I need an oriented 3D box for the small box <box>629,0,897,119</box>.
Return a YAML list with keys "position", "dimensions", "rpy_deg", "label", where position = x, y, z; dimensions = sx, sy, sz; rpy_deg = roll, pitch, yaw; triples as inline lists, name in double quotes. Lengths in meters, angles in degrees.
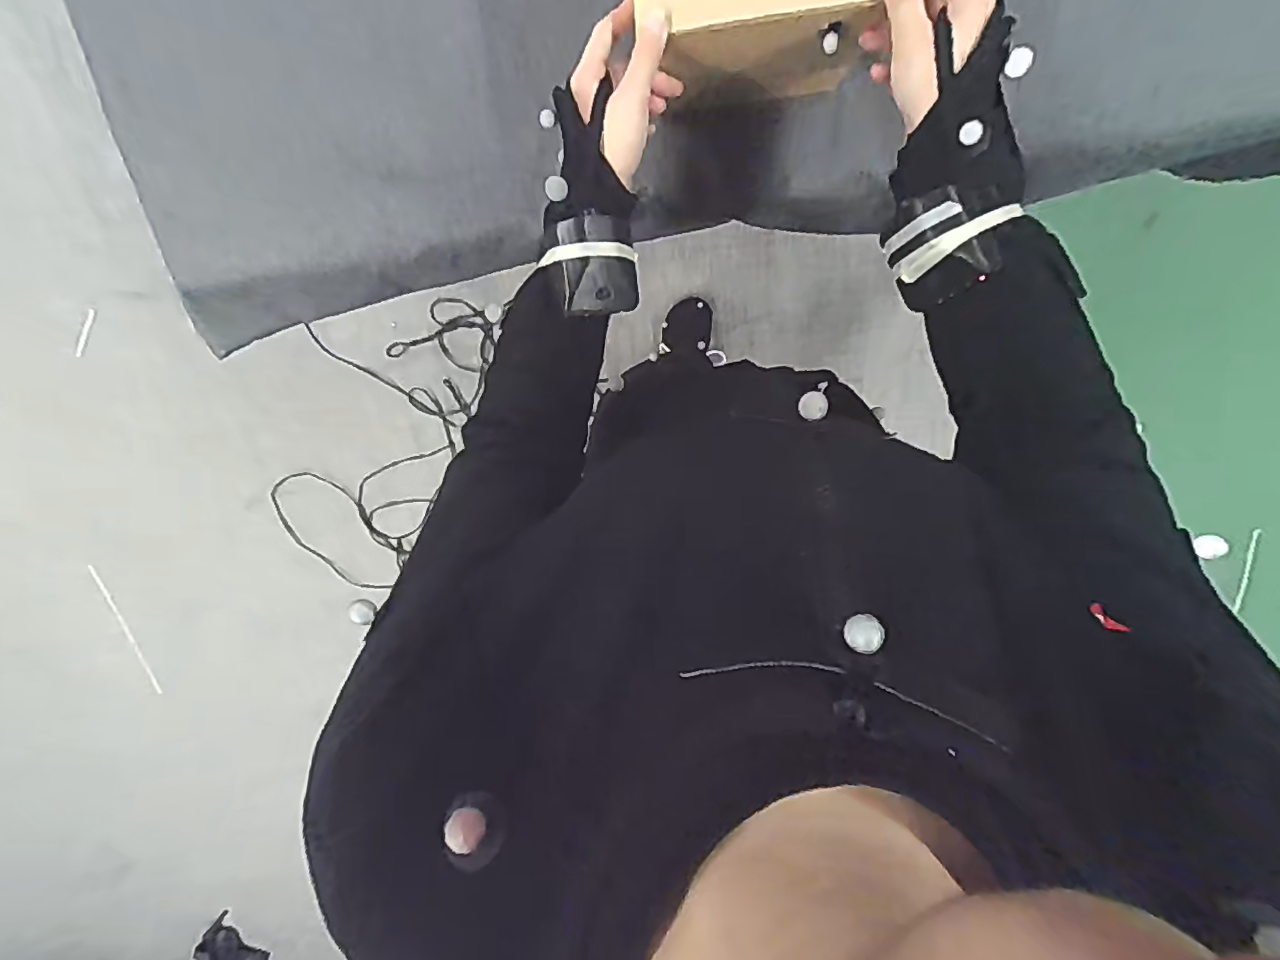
- position: [0.078, -0.397, 0.404]
  dimensions: [0.179, 0.176, 0.168]
  rpy_deg: [-6, 108, 5]
  label: "small box"
